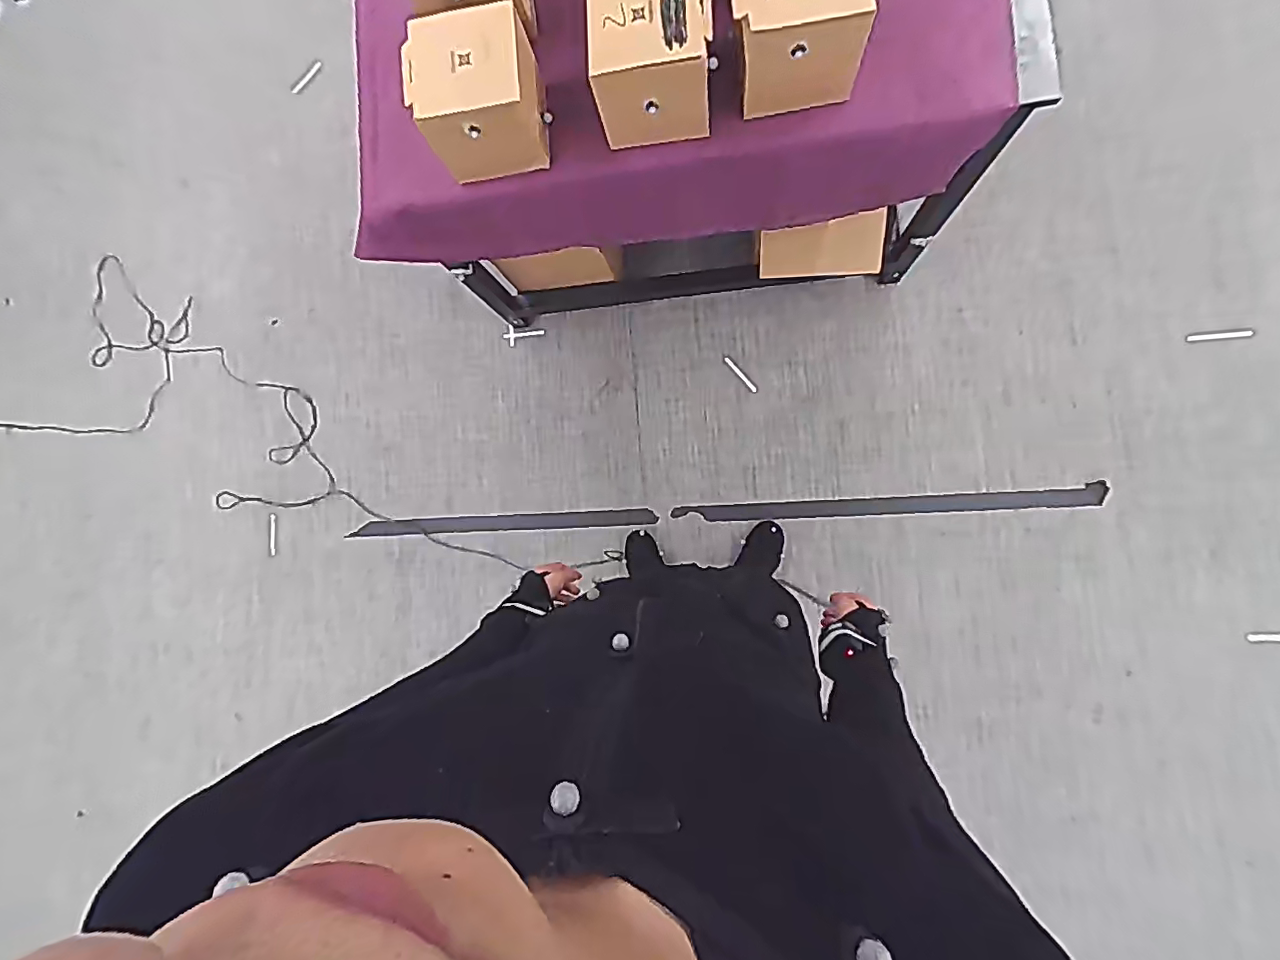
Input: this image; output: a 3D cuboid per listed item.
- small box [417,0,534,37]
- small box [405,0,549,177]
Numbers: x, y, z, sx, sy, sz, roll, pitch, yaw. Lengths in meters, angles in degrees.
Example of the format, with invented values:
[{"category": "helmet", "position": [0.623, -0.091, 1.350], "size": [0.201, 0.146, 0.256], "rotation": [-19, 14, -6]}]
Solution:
[{"category": "small box", "position": [-0.296, -0.877, 0.920], "size": [0.179, 0.176, 0.168], "rotation": [-7, 87, 7]}, {"category": "small box", "position": [-0.264, -0.638, 0.904], "size": [0.179, 0.176, 0.168], "rotation": [-5, 87, 7]}]
